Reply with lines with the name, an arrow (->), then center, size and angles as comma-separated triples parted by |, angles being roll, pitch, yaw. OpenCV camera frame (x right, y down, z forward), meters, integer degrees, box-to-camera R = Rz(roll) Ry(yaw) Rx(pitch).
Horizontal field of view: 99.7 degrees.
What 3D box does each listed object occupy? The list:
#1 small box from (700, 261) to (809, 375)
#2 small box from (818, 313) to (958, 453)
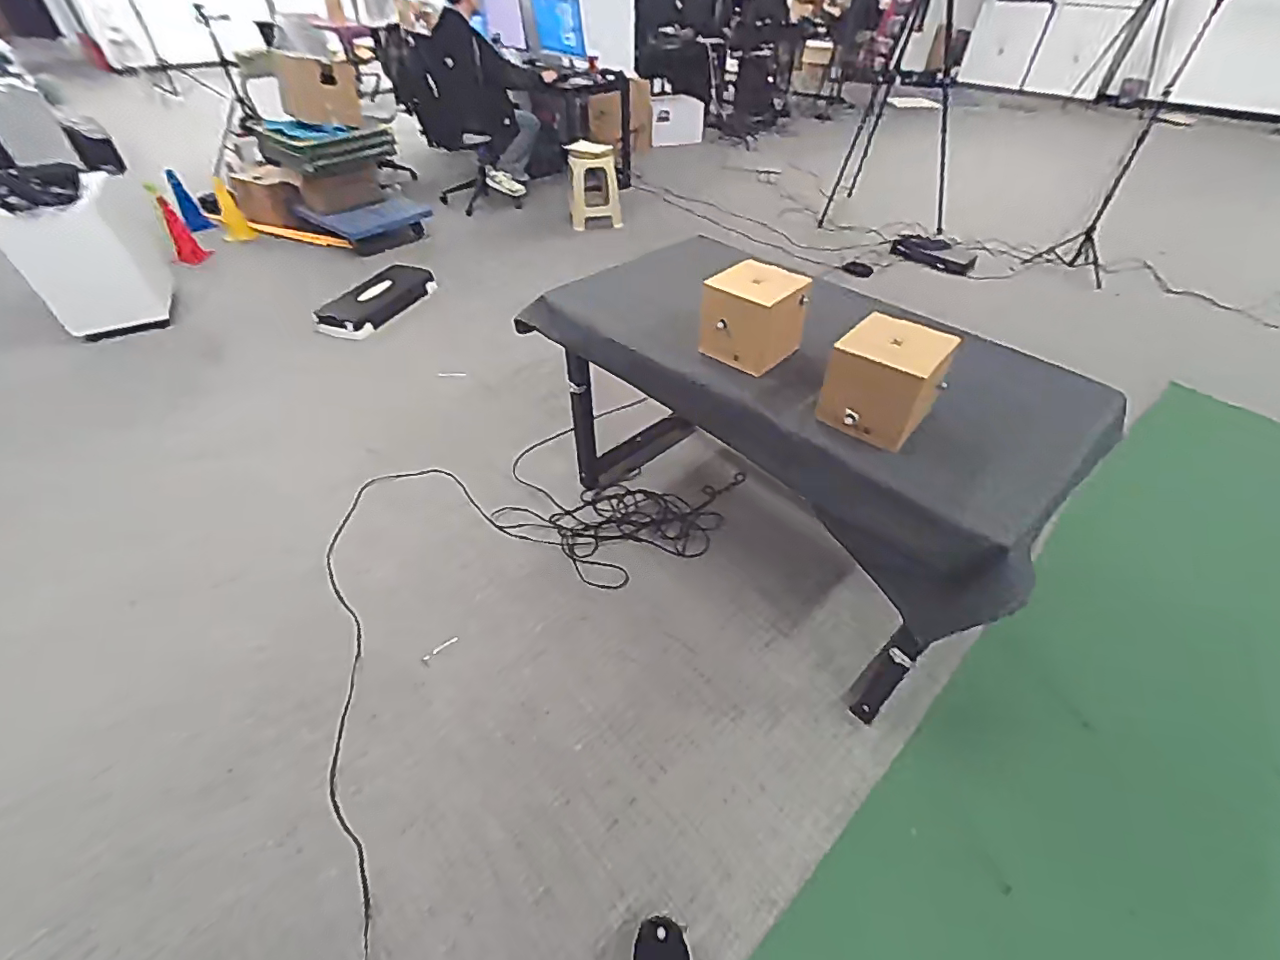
small box -> 0.246, -0.357, 1.193 | 0.168, 0.176, 0.179 | 32, 51, 28
small box -> 0.456, -0.183, 1.015 | 0.168, 0.176, 0.179 | 30, 51, 28
